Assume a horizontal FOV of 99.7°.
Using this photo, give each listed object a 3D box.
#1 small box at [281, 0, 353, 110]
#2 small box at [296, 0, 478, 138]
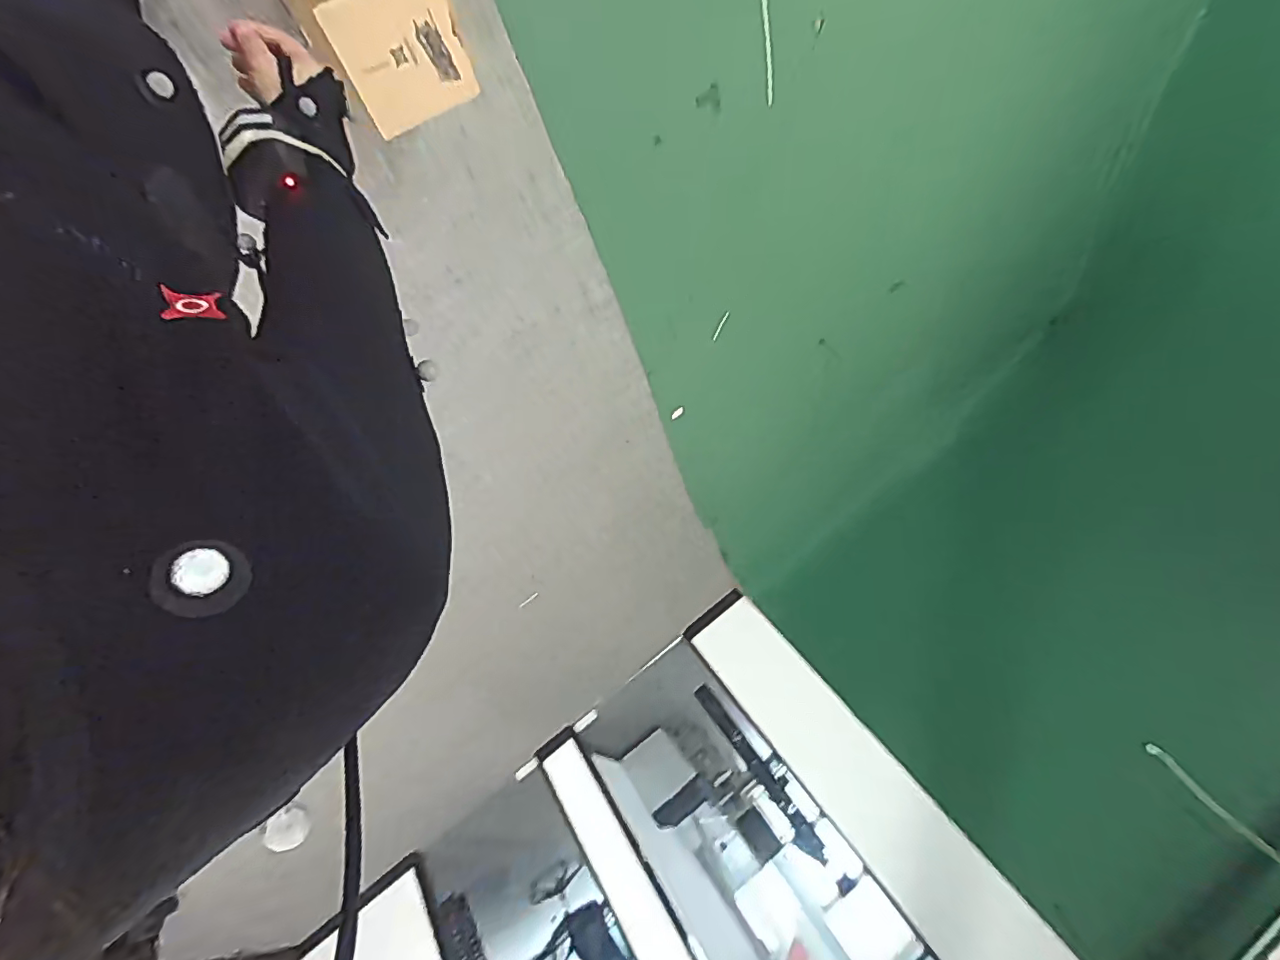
[{"bbox_3d":[-0.476,-0.769,0.918,0.179,0.176,0.168,-33,143,-10],"label":"small box"},{"bbox_3d":[-0.386,-0.665,0.828,0.179,0.176,0.168,-34,142,-10],"label":"small box"}]
